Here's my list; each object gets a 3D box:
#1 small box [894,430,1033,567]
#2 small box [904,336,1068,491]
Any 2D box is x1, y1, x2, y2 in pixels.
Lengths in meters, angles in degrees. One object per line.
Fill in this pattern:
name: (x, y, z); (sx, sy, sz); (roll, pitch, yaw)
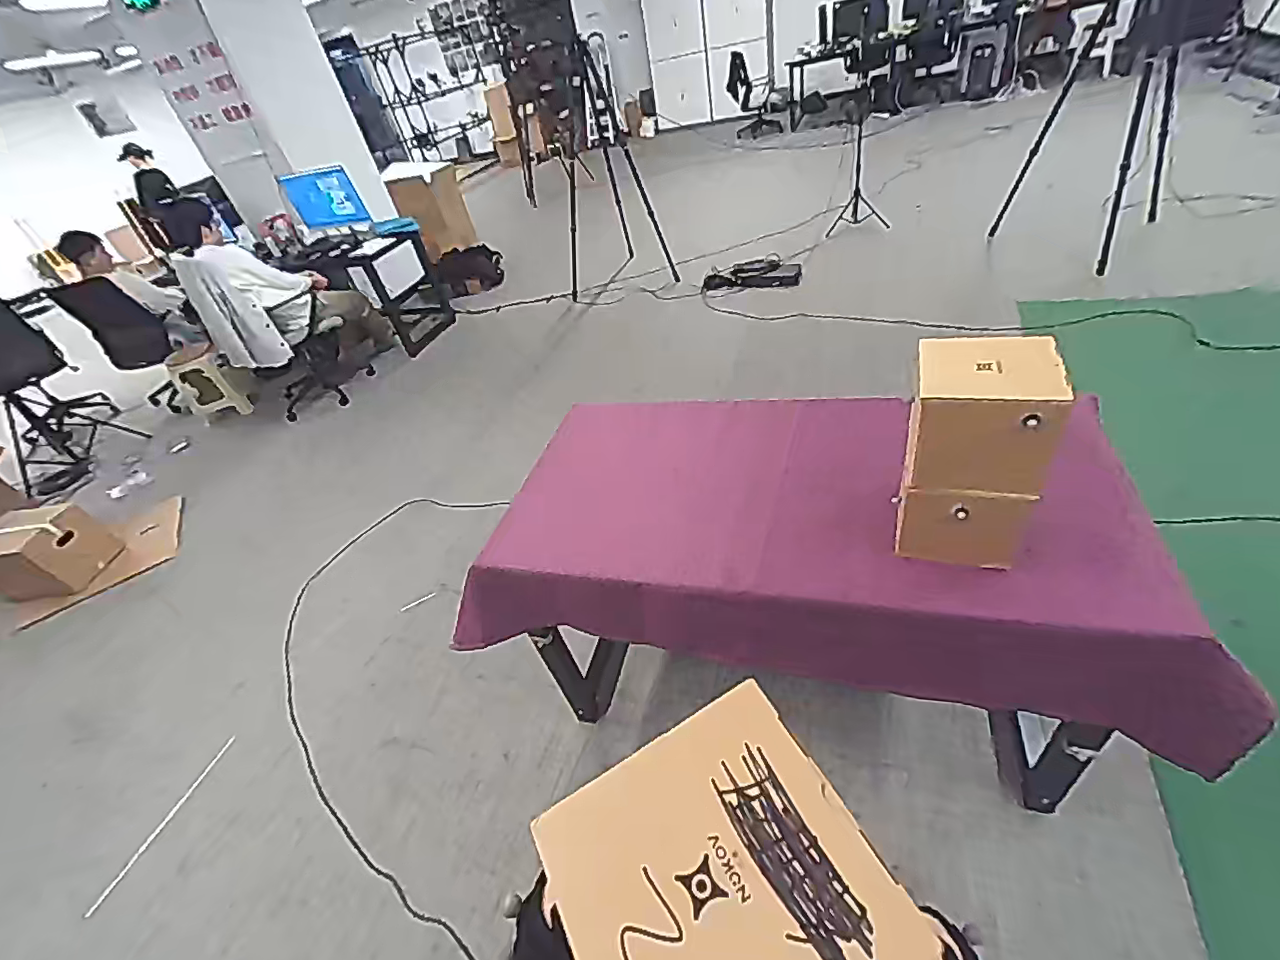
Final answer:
small box: (0.532, 0.025, 0.909); (0.179, 0.176, 0.168); (7, 45, 24)
small box: (0.499, -0.099, 0.809); (0.179, 0.176, 0.168); (5, 44, 22)
